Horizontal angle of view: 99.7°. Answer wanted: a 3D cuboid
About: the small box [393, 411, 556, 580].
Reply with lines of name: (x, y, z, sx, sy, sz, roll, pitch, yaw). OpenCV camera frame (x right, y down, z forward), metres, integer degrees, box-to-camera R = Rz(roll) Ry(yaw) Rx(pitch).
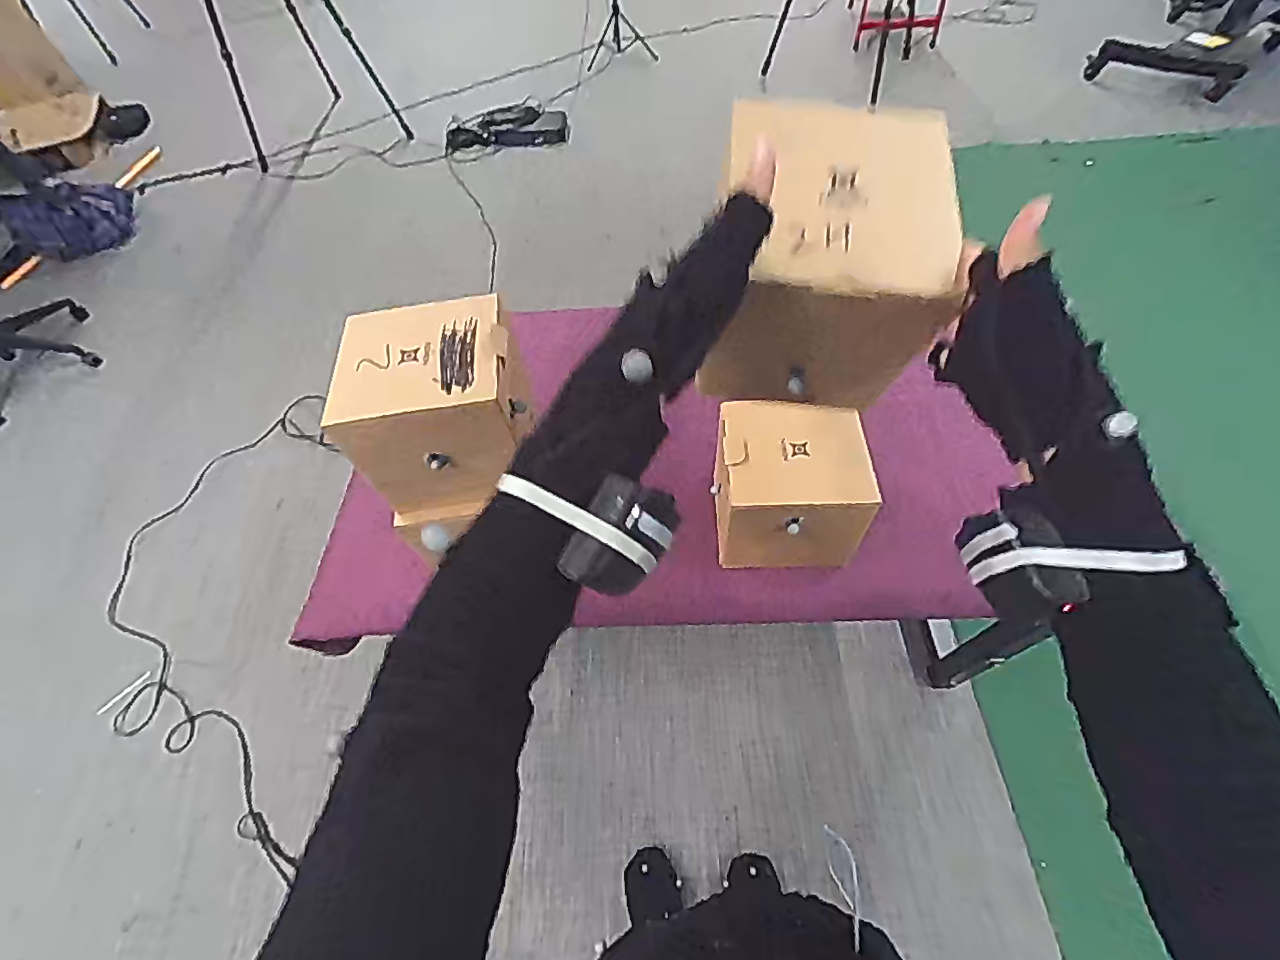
small box: (-0.215, 0.027, 0.760, 0.179, 0.176, 0.168, -7, 56, -1)

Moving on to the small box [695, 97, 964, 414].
small box: (0.142, -0.178, 0.464, 0.168, 0.176, 0.179, 6, 71, 0)

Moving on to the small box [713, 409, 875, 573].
small box: (0.195, 0.019, 0.743, 0.179, 0.176, 0.168, -1, 56, 4)
